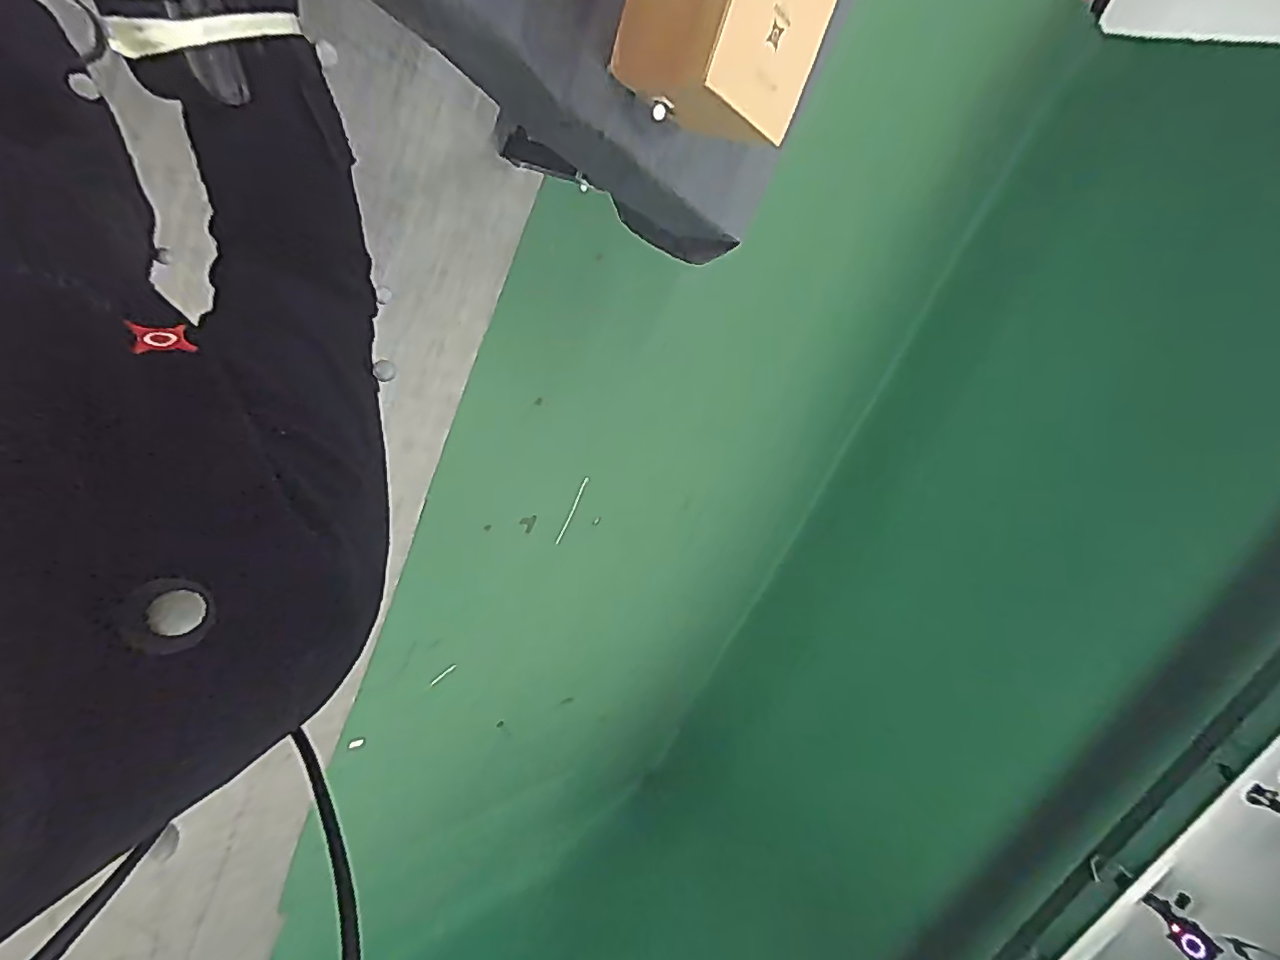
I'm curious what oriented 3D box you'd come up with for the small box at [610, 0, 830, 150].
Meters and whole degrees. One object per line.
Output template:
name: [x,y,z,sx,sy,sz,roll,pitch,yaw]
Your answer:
small box: [0.089,-0.529,0.642,0.168,0.176,0.179,-5,123,-48]
